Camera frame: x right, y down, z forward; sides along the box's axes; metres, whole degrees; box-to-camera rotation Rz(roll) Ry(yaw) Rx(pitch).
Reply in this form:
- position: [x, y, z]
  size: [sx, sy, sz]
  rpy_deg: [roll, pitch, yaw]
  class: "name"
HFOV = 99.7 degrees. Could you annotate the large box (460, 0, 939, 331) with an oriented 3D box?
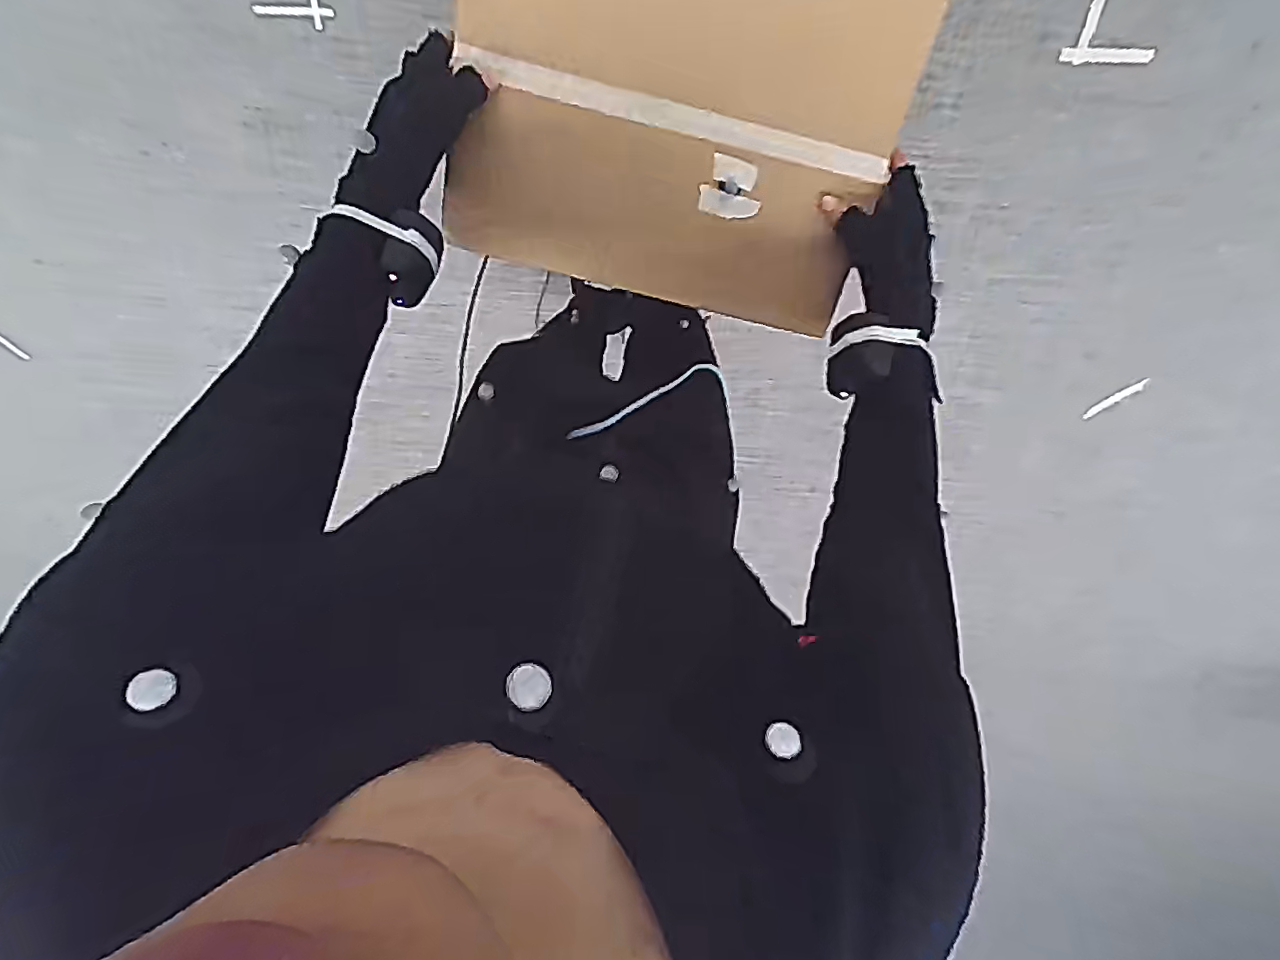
- position: [0.039, -0.397, 0.650]
  size: [0.408, 0.320, 0.320]
  rpy_deg: [13, 114, -4]
  class: "large box"
